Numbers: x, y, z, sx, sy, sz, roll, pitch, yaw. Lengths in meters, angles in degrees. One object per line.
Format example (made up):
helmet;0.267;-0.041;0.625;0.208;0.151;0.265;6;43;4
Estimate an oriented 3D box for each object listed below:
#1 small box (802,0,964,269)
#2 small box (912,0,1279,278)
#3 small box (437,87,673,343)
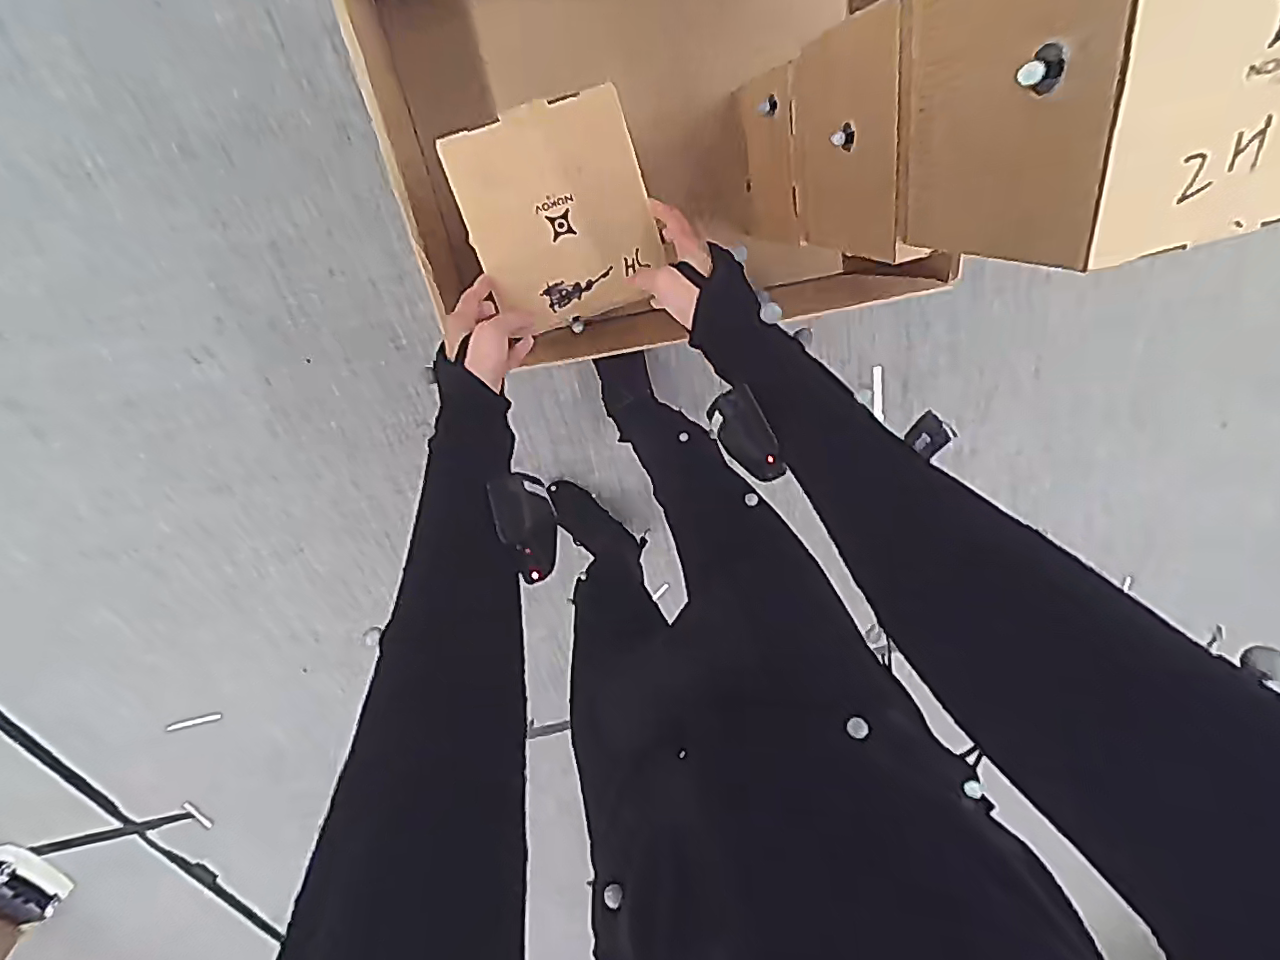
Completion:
small box;0.252;-0.299;0.463;0.168;0.176;0.179;-15;119;-2
small box;0.283;-0.235;0.314;0.168;0.176;0.179;-15;120;-2
small box;-0.078;-0.248;0.554;0.168;0.176;0.179;-19;106;1
